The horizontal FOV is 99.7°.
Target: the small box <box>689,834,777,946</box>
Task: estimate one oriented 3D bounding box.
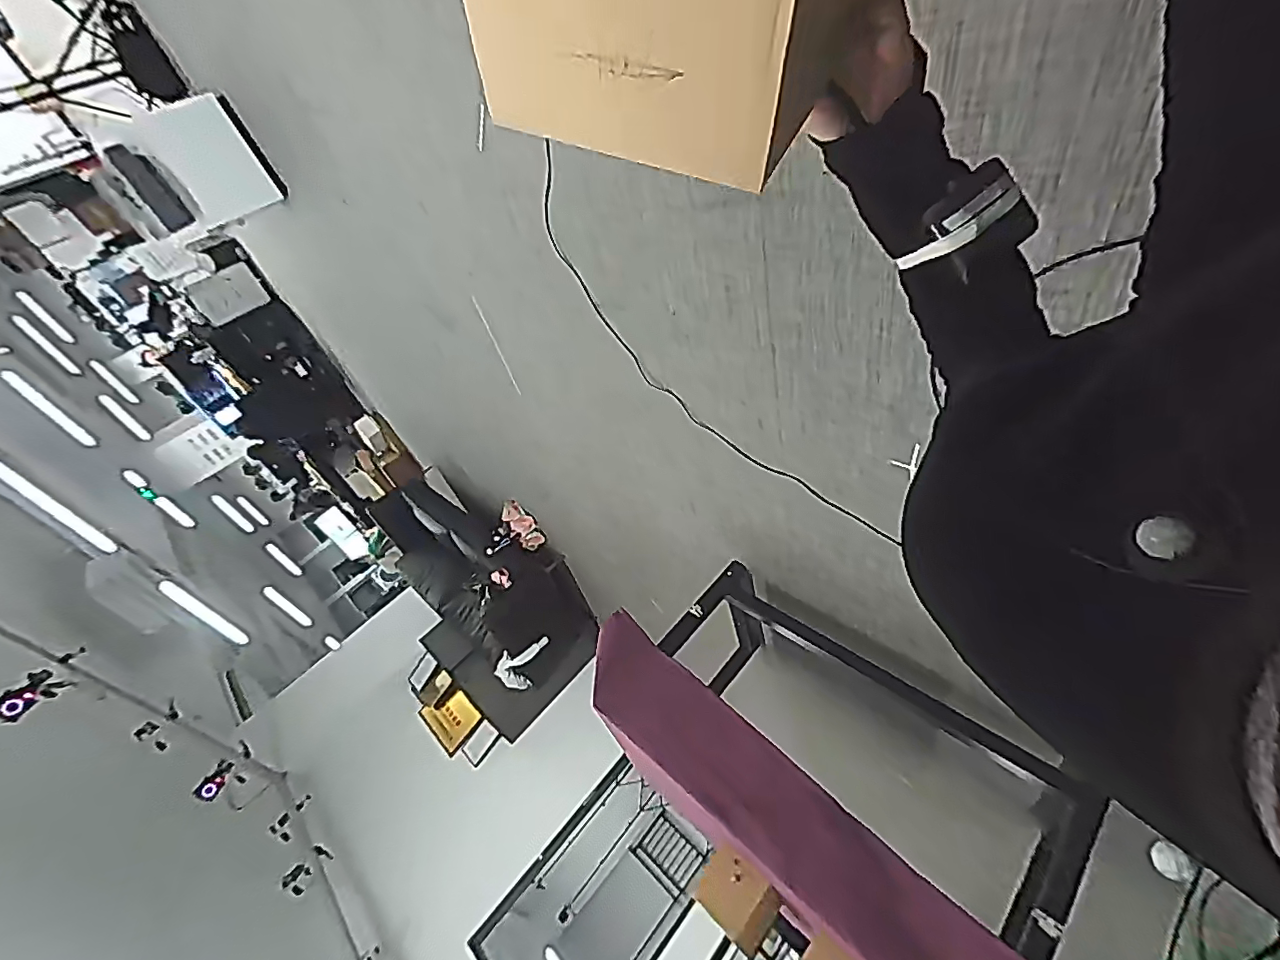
[{"bbox_3d":[0.274,1.172,1.555,0.168,0.176,0.179,20,144,45],"label":"small box"}]

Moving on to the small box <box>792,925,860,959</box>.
[{"bbox_3d":[0.478,1.268,1.358,0.179,0.176,0.168,25,148,41],"label":"small box"}]

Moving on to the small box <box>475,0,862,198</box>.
[{"bbox_3d":[0.027,-0.286,0.267,0.168,0.176,0.179,23,153,13],"label":"small box"}]
